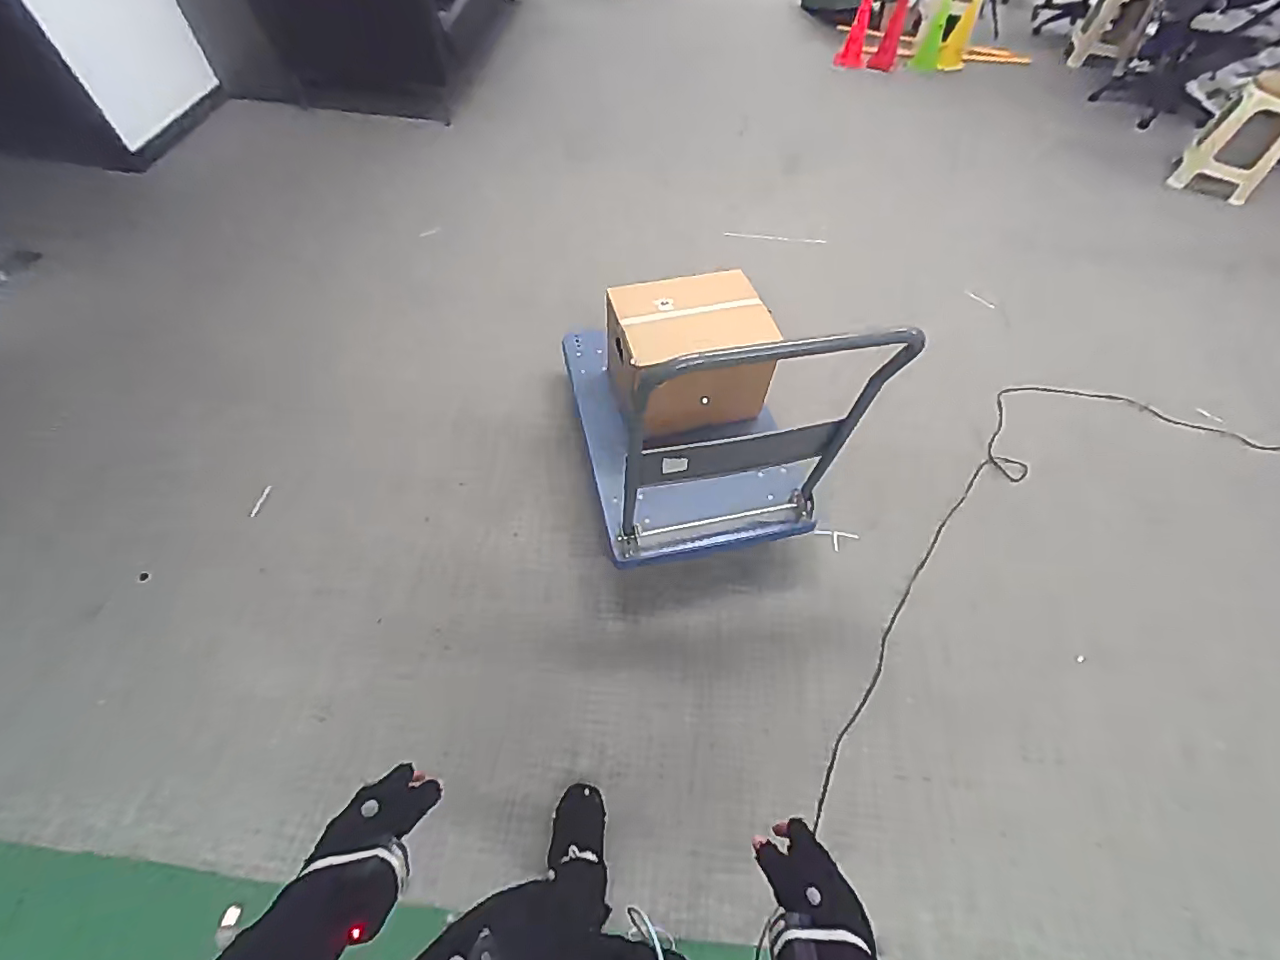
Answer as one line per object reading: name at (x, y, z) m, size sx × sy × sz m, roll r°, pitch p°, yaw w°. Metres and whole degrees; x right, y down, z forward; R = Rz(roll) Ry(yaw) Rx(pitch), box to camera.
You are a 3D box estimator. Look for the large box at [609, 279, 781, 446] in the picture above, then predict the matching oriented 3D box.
large box at (0.140, -0.340, 1.587) m, size 0.408 × 0.320 × 0.320 m, roll -13°, pitch 57°, yaw -10°
